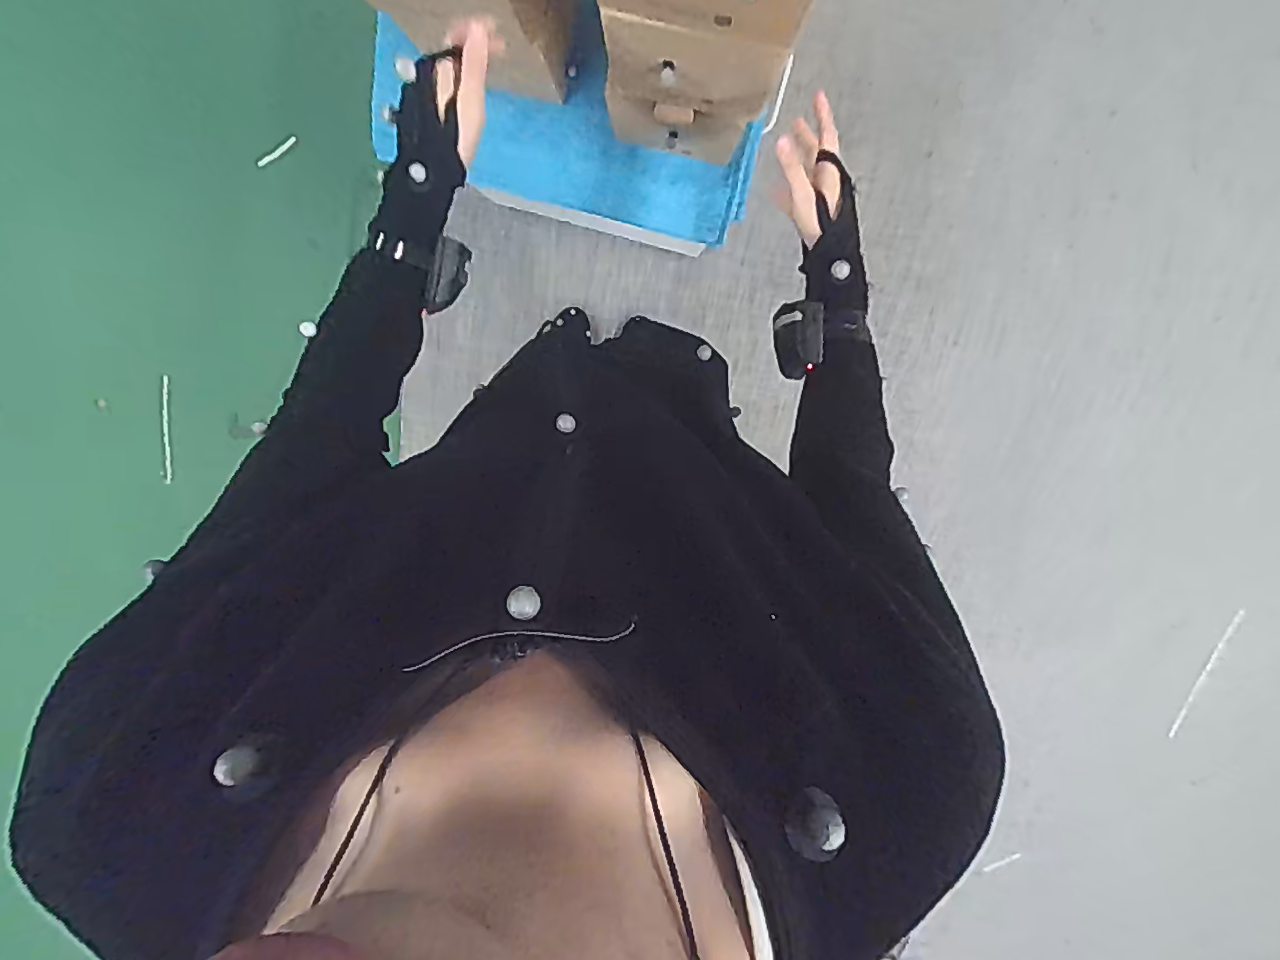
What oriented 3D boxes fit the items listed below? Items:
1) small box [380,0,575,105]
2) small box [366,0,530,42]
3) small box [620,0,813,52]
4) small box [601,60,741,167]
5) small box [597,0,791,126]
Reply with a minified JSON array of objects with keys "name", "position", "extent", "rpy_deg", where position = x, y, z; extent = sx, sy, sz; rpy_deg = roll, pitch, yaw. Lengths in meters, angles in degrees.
[{"name":"small box","position":[-0.178,-0.580,0.640],"extent":[0.179,0.176,0.168],"rpy_deg":[12,105,-3]},{"name":"small box","position":[-0.188,-0.537,0.482],"extent":[0.179,0.176,0.168],"rpy_deg":[12,105,-3]},{"name":"small box","position":[0.062,-0.424,0.344],"extent":[0.168,0.176,0.179],"rpy_deg":[13,104,-3]},{"name":"small box","position":[0.056,-0.509,0.658],"extent":[0.168,0.176,0.179],"rpy_deg":[13,106,-3]},{"name":"small box","position":[0.062,-0.465,0.502],"extent":[0.168,0.176,0.179],"rpy_deg":[11,104,-2]}]
